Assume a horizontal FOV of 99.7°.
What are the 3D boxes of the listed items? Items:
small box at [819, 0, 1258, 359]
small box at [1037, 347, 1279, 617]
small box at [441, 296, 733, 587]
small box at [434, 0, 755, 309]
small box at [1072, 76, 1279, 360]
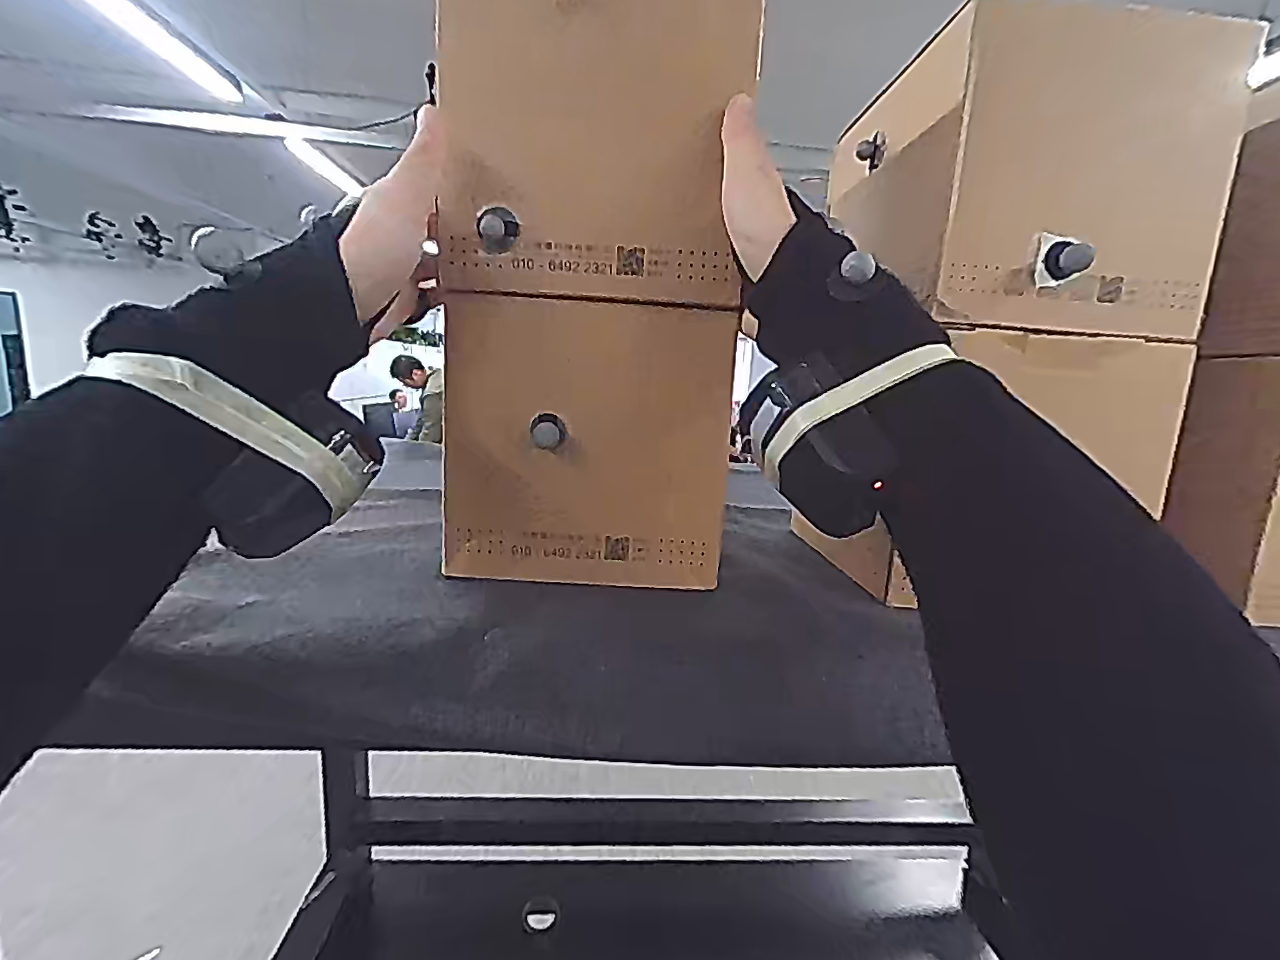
[{"bbox_3d":[0.240,-0.176,0.378,0.168,0.176,0.179,1,10,-5],"label":"small box"},{"bbox_3d":[0.449,-0.004,0.411,0.168,0.176,0.179,2,10,-3],"label":"small box"},{"bbox_3d":[-0.033,-0.029,0.392,0.168,0.176,0.179,3,9,-2],"label":"small box"},{"bbox_3d":[-0.025,-0.191,0.362,0.168,0.176,0.179,3,8,-2],"label":"small box"},{"bbox_3d":[0.460,-0.166,0.383,0.168,0.176,0.179,4,11,-3],"label":"small box"}]
